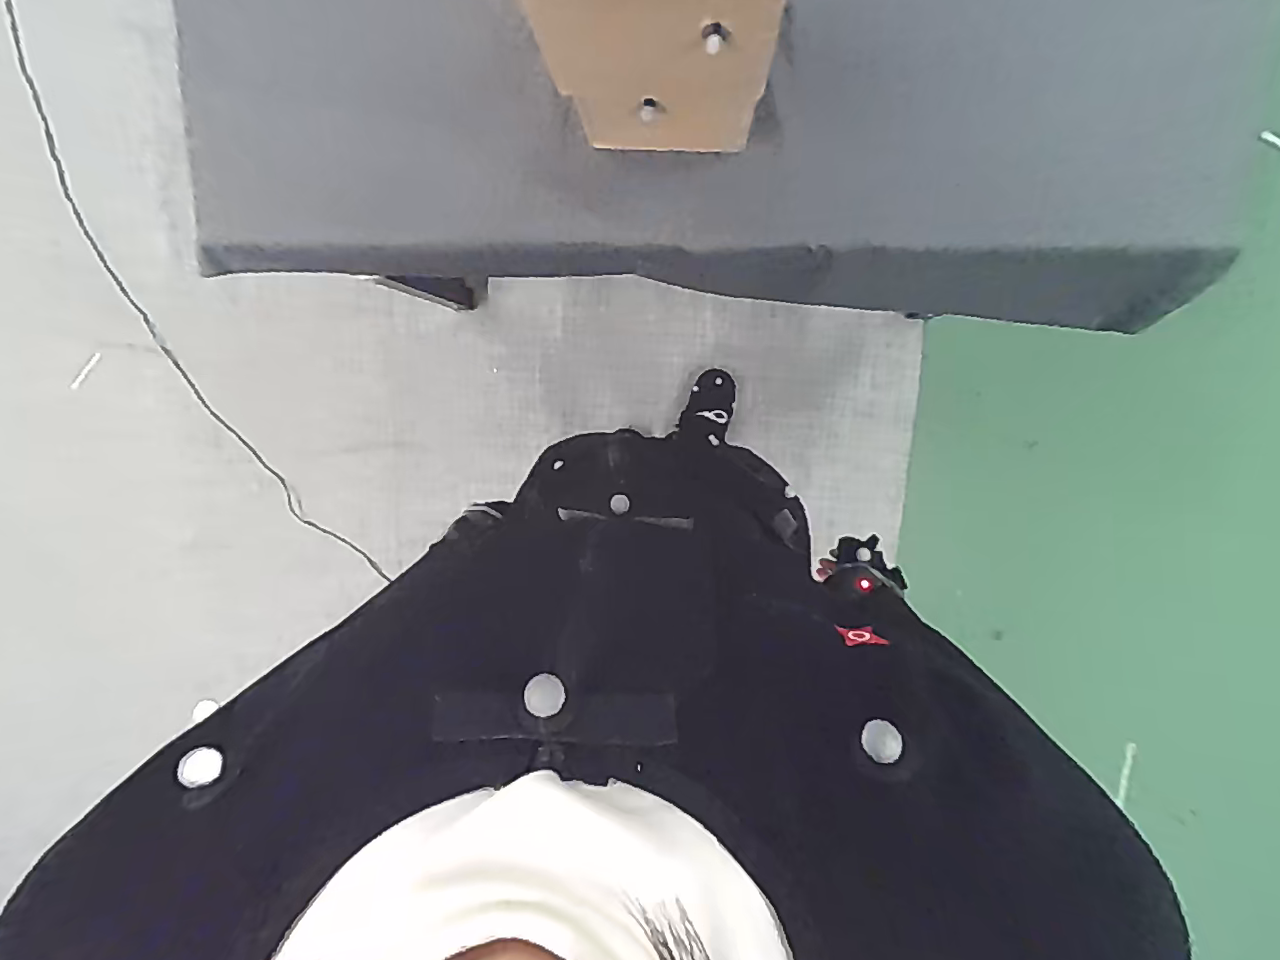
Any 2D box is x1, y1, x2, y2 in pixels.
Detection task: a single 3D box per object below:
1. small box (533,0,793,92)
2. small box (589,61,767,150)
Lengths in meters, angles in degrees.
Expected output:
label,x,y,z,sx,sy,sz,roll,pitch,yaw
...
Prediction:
label,x,y,z,sx,sy,sz,roll,pitch,yaw
small box,0.018,-0.393,0.362,0.179,0.176,0.168,0,99,4
small box,0.035,-0.451,0.535,0.179,0.176,0.168,1,98,4
